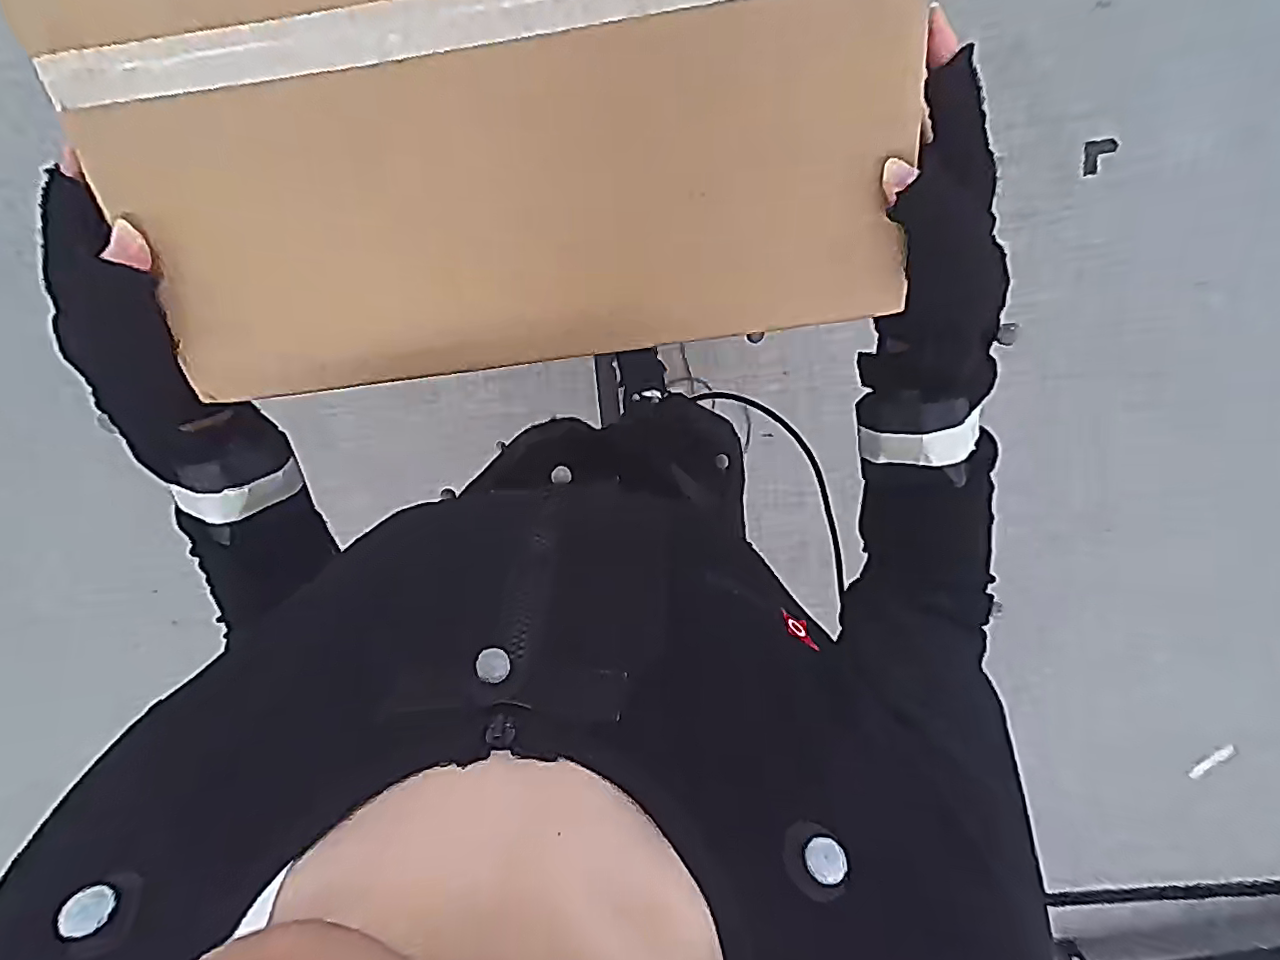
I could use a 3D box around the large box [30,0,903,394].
[{"bbox_3d":[-0.076,-0.279,0.386,0.408,0.320,0.320,-7,114,3],"label":"large box"}]
